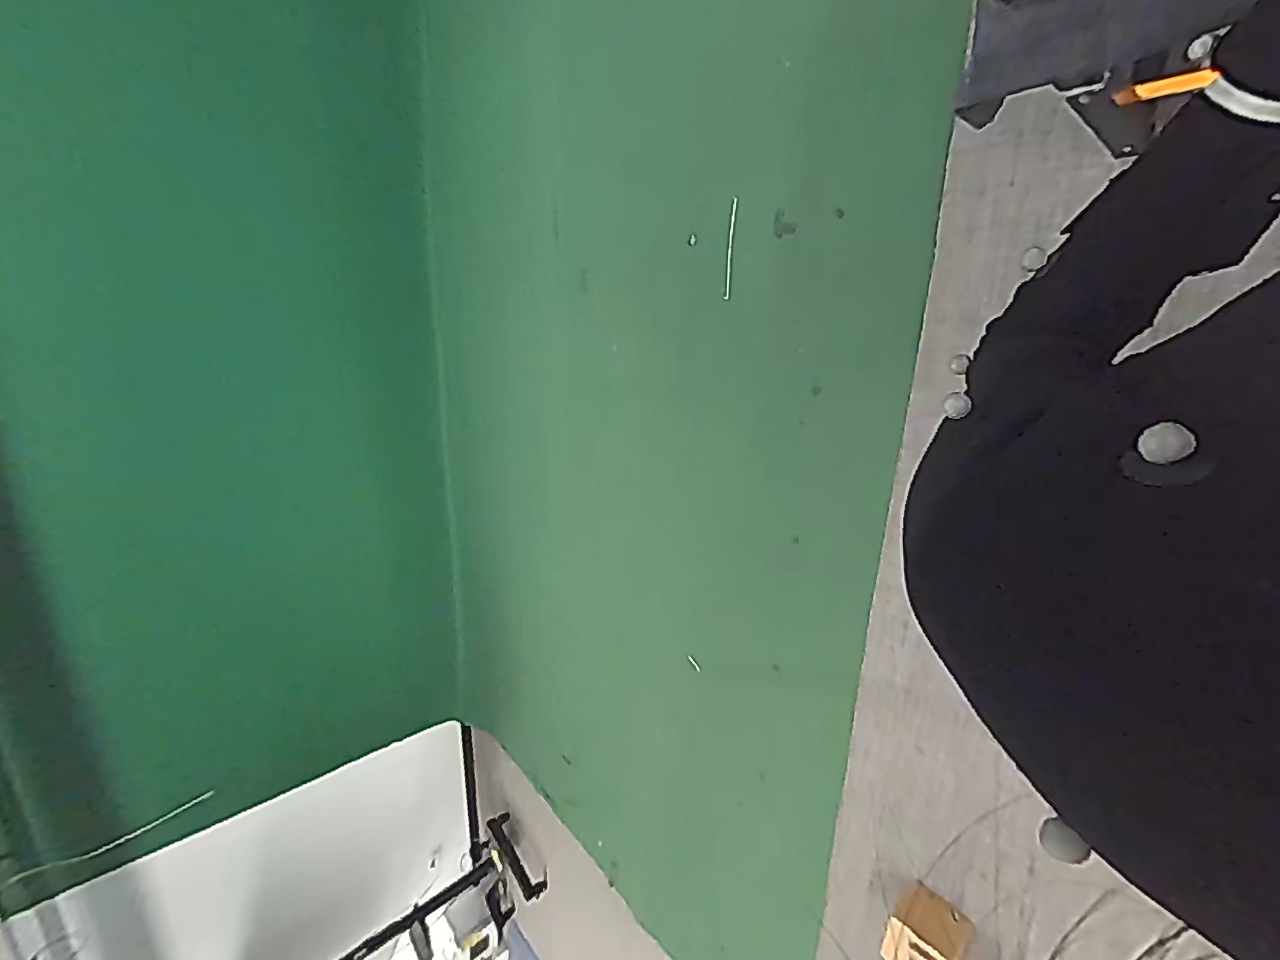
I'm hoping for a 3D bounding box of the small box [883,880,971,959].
[{"bbox_3d":[0.841,1.335,1.581,0.168,0.176,0.179,21,115,45],"label":"small box"}]
